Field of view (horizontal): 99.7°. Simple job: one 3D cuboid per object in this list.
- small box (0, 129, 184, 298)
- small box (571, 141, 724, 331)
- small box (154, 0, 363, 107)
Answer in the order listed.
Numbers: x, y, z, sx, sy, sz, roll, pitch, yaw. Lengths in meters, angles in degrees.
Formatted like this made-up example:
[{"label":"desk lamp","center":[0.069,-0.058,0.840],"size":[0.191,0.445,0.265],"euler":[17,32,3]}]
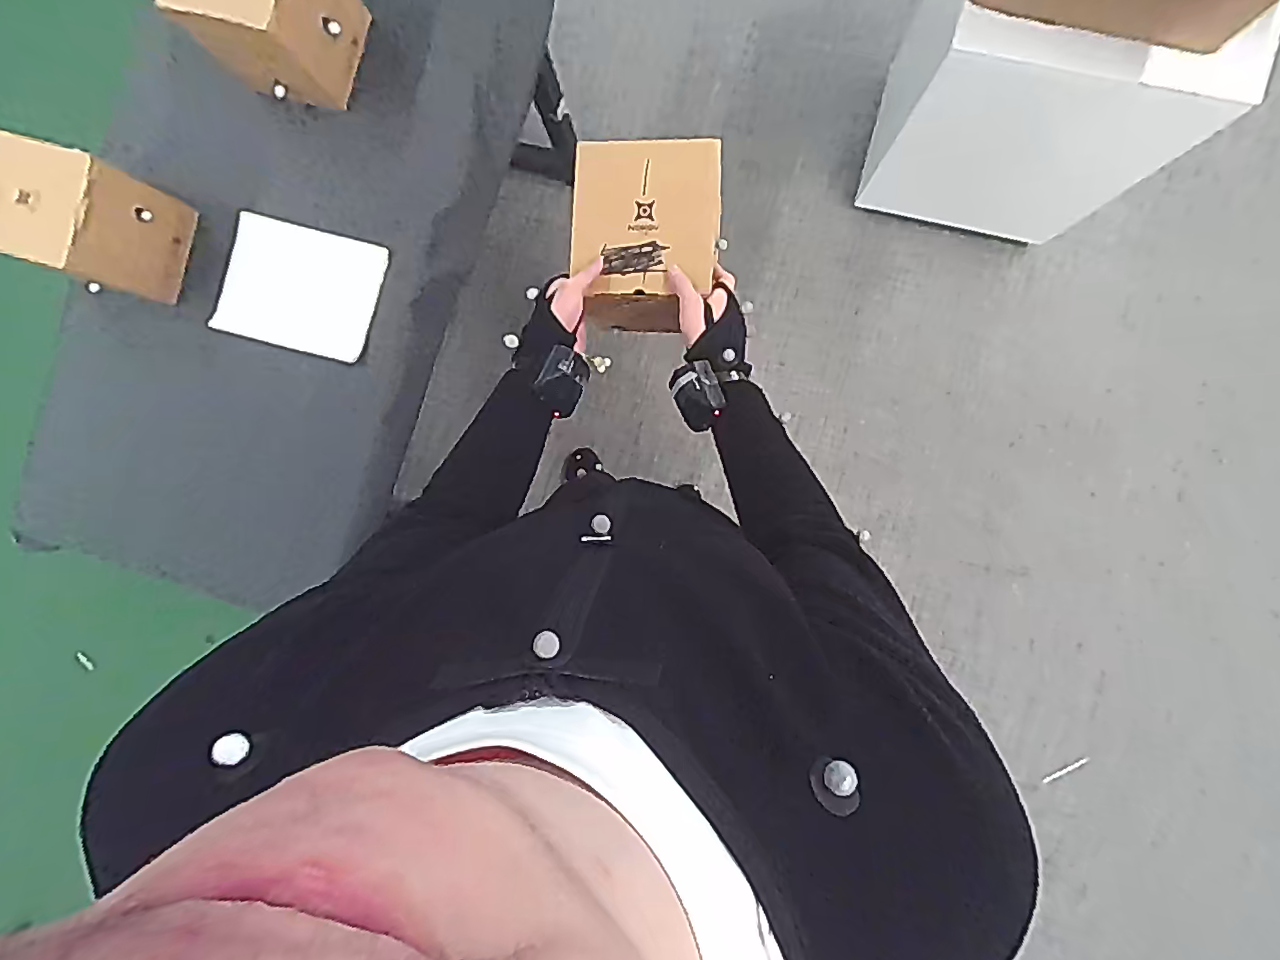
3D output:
[{"label":"small box","center":[-0.854,-0.393,0.820],"size":[0.179,0.176,0.168],"euler":[15,91,5]},{"label":"small box","center":[0.017,-0.297,0.690],"size":[0.168,0.176,0.179],"euler":[4,91,7]},{"label":"small box","center":[-0.552,-0.702,0.807],"size":[0.179,0.176,0.168],"euler":[16,92,3]}]
